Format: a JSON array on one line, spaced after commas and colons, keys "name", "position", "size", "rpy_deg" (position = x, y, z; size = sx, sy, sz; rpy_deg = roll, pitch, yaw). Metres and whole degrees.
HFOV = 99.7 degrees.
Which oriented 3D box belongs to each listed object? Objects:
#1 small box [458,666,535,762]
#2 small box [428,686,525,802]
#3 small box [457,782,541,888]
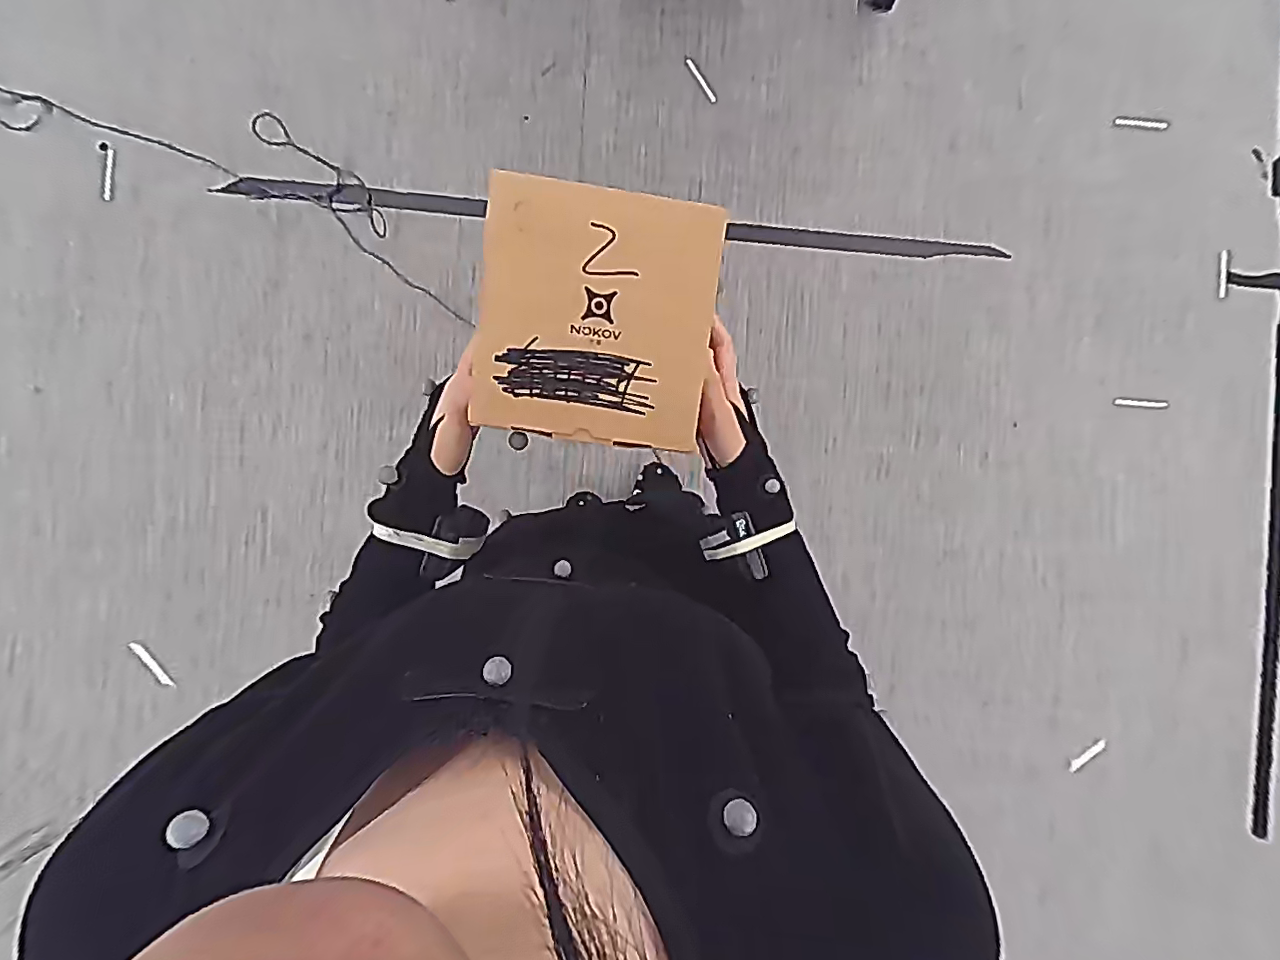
[{"name": "small box", "position": [-0.368, 0.596, 1.392], "size": [0.168, 0.176, 0.179], "rpy_deg": [3, 88, -3]}, {"name": "small box", "position": [-0.364, 0.593, 1.229], "size": [0.168, 0.176, 0.179], "rpy_deg": [6, 88, -2]}, {"name": "small box", "position": [-0.358, 0.904, 1.391], "size": [0.179, 0.176, 0.168], "rpy_deg": [-2, 91, -2]}]
